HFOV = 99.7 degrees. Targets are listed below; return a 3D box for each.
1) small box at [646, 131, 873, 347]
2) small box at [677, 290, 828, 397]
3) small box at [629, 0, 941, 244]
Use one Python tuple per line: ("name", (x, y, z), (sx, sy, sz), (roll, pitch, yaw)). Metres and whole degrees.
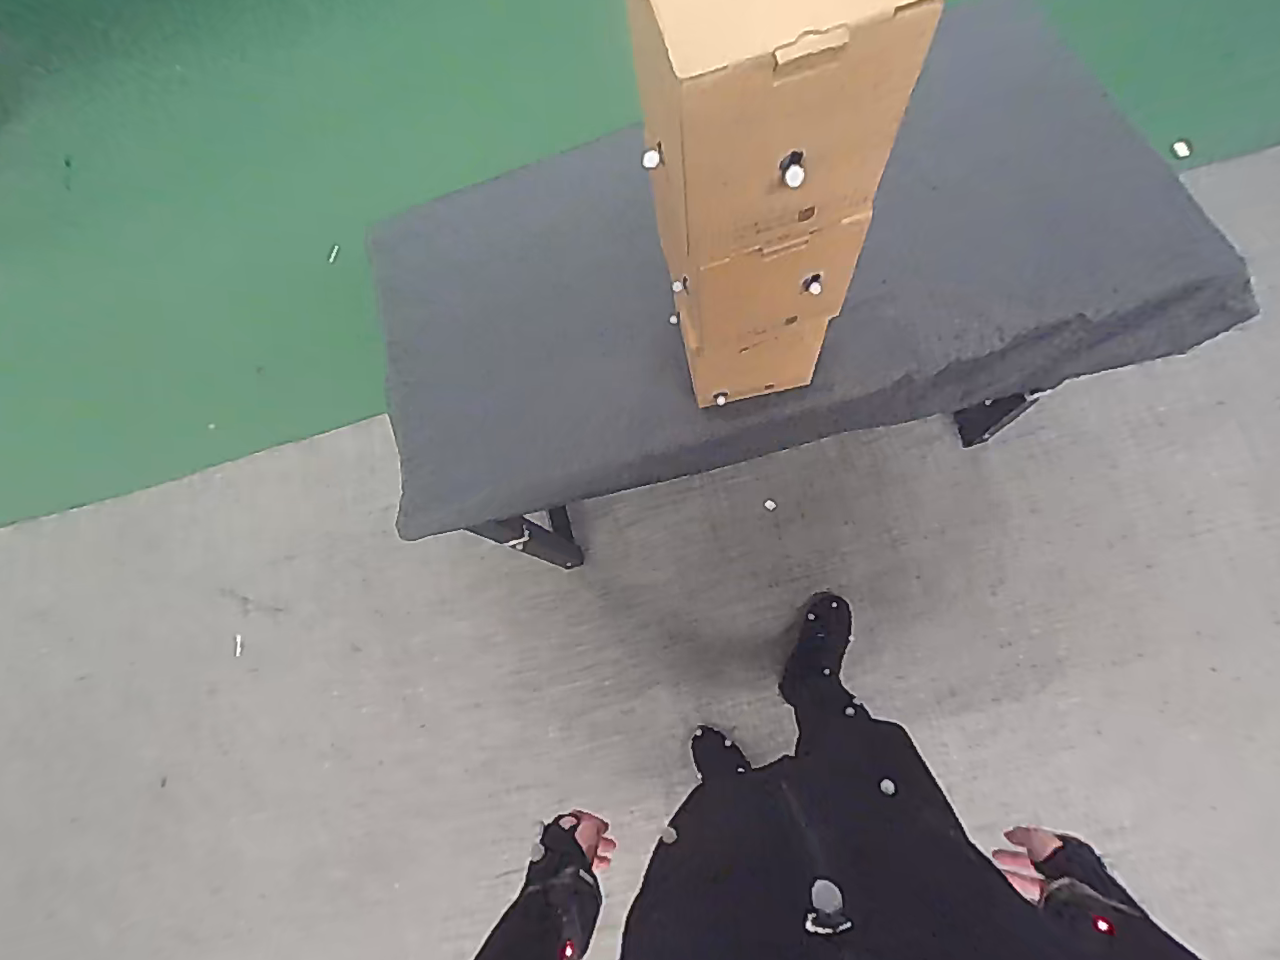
("small box", (0.117, -0.264, 0.574), (0.168, 0.176, 0.179), (-18, 71, 3))
("small box", (0.141, -0.227, 0.730), (0.168, 0.176, 0.179), (-11, 71, 6))
("small box", (0.093, -0.313, 0.420), (0.168, 0.176, 0.179), (-15, 73, 4))
